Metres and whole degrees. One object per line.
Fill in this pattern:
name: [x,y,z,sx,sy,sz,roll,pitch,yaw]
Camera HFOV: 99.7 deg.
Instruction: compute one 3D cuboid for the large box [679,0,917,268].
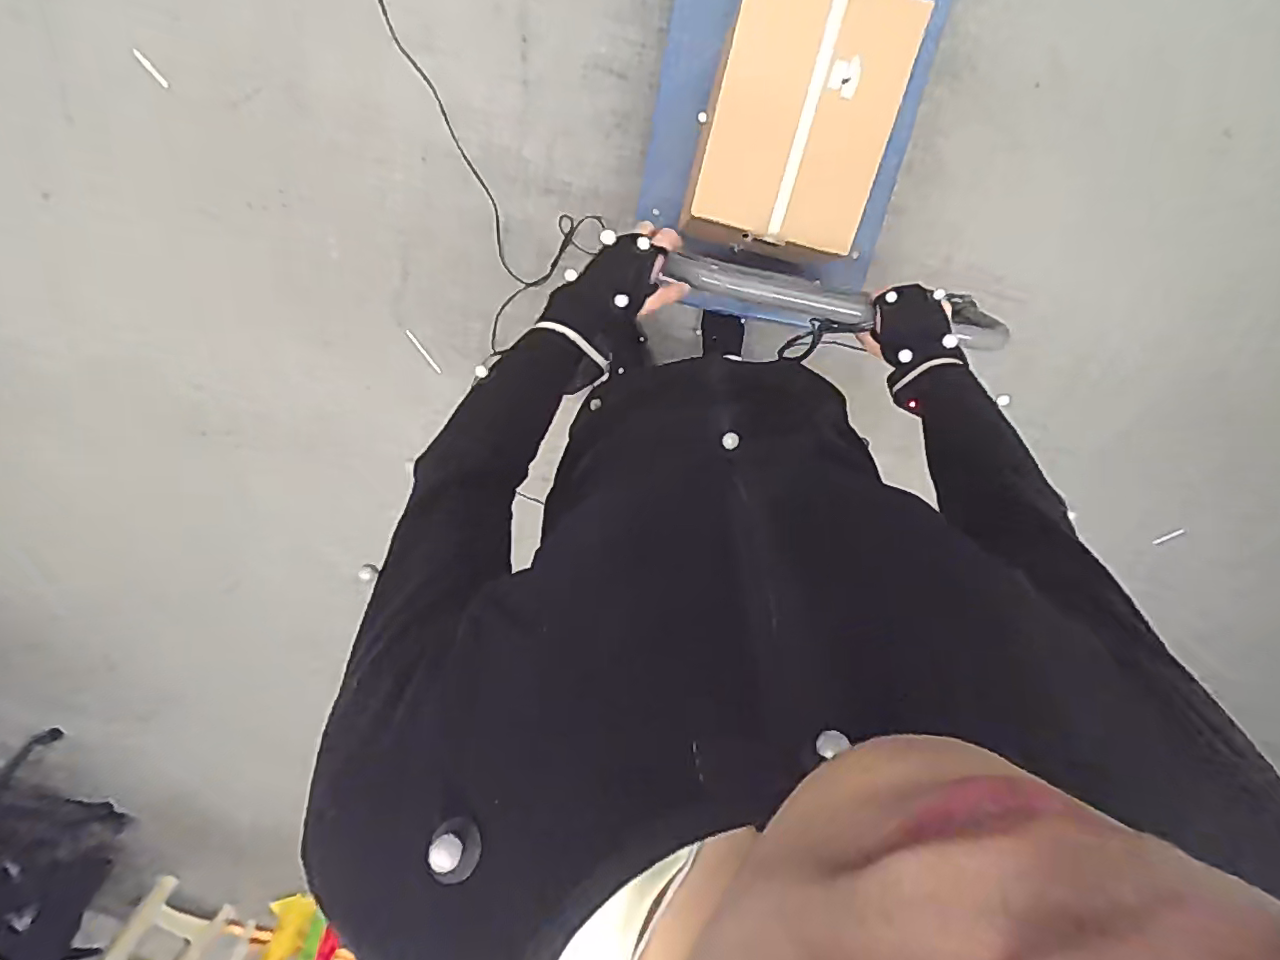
large box: [0.279,-0.679,1.099,0.320,0.320,0.408,12,108,-5]
